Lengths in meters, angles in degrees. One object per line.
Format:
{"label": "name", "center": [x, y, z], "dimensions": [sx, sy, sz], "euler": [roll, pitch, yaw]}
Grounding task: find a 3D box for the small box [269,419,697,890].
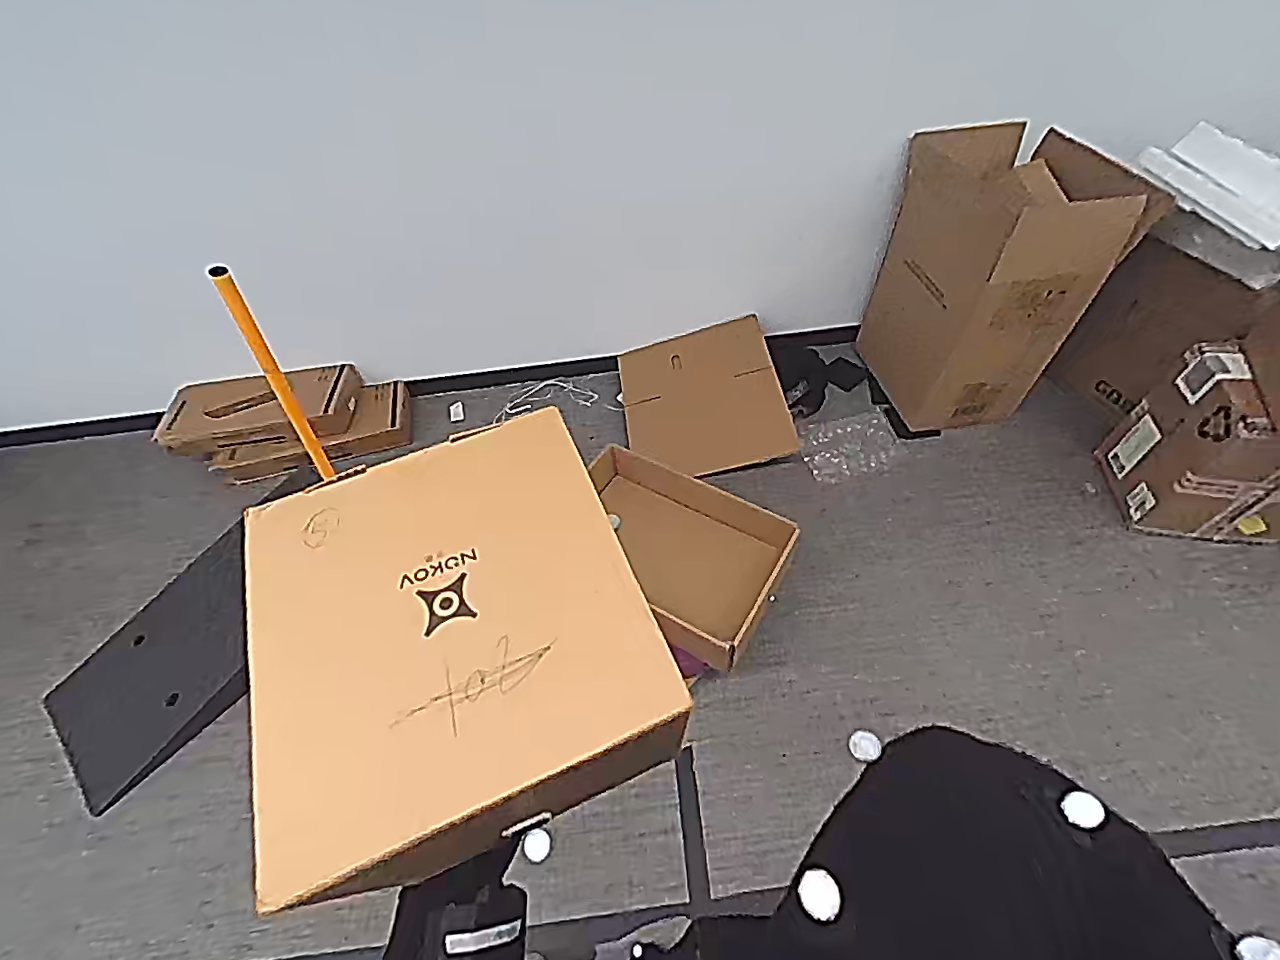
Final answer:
{"label": "small box", "center": [-0.082, 0.100, 0.319], "dimensions": [0.168, 0.176, 0.179], "euler": [-21, 60, -11]}
